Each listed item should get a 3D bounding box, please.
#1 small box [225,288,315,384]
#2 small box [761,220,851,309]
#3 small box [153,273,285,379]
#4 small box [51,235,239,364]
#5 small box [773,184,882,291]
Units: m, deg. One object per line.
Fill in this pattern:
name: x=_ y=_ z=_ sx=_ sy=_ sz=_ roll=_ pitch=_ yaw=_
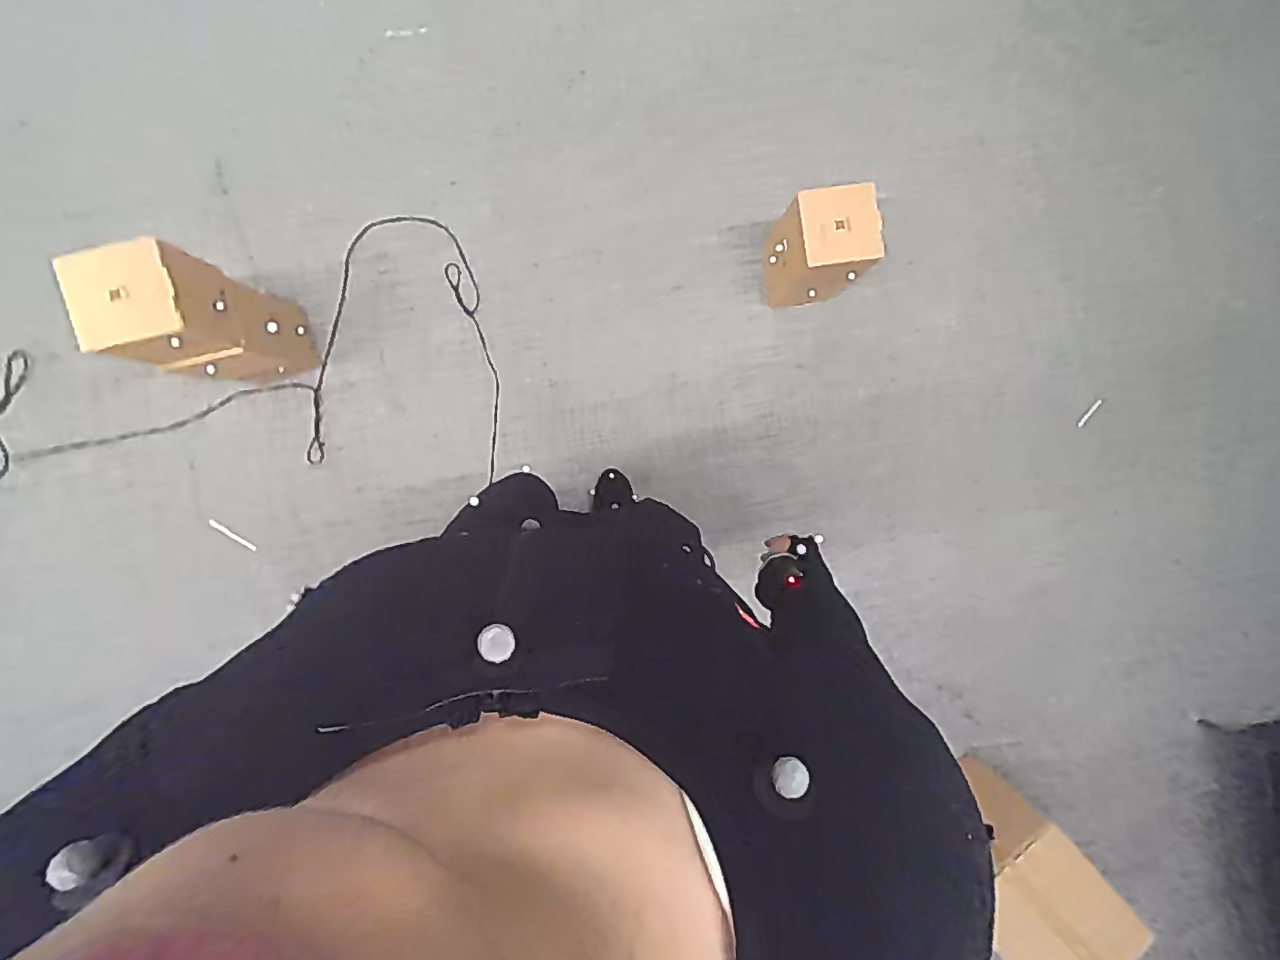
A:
small box: x=-0.939 y=-0.348 z=1.334 sx=0.179 sy=0.176 sz=0.168 roll=-18 pitch=93 yaw=-2
small box: x=0.425 y=-0.565 z=1.412 sx=0.168 sy=0.176 sz=0.179 roll=-9 pitch=93 yaw=-3
small box: x=-0.921 y=-0.325 z=1.172 sx=0.179 sy=0.176 sz=0.168 roll=-14 pitch=94 yaw=-4
small box: x=-0.908 y=-0.325 z=1.009 sx=0.179 sy=0.176 sz=0.168 roll=-15 pitch=93 yaw=-4
small box: x=0.426 y=-0.551 z=1.249 sx=0.179 sy=0.176 sz=0.168 roll=-9 pitch=92 yaw=-2
